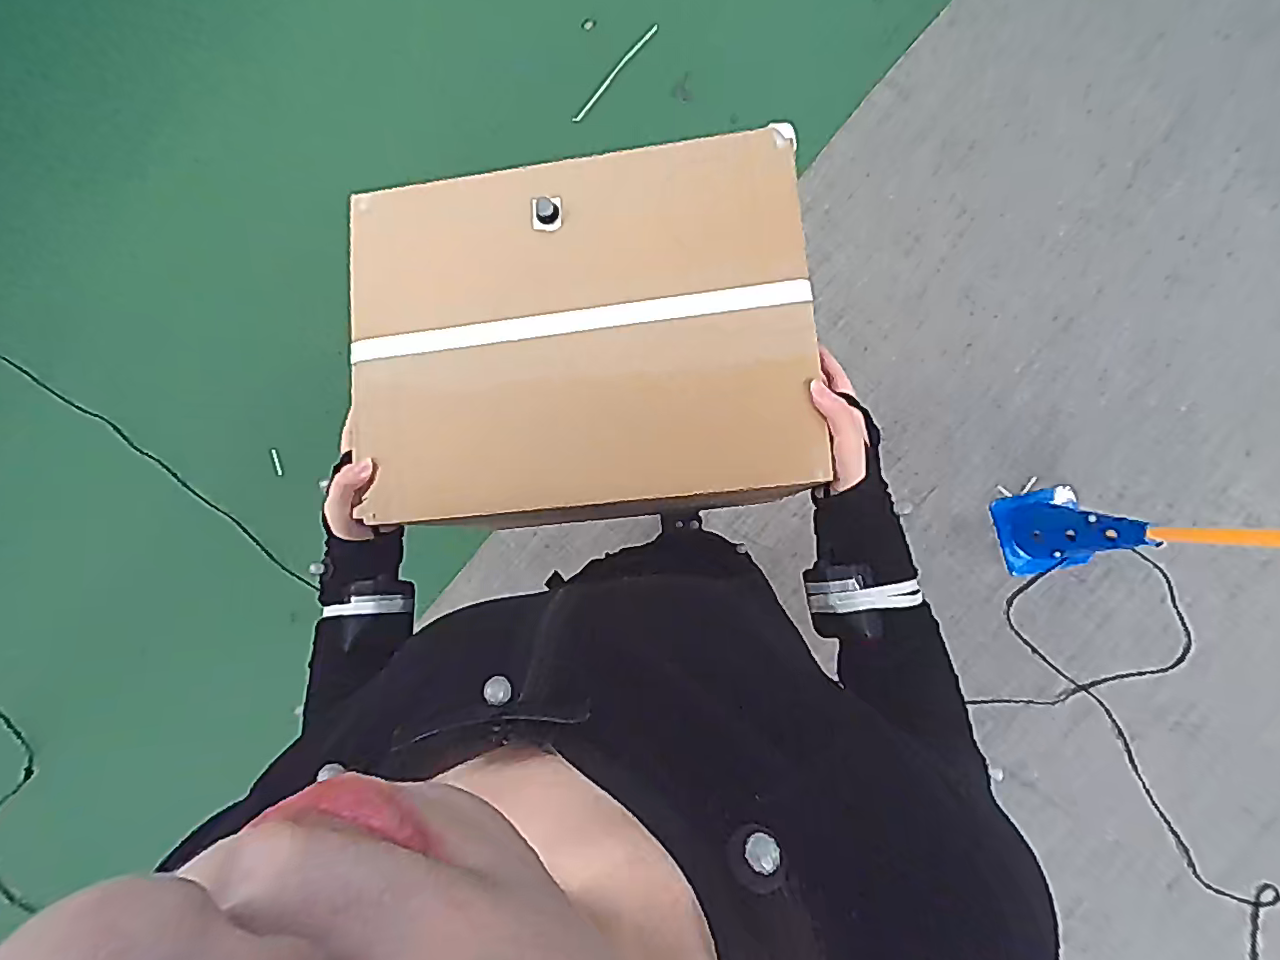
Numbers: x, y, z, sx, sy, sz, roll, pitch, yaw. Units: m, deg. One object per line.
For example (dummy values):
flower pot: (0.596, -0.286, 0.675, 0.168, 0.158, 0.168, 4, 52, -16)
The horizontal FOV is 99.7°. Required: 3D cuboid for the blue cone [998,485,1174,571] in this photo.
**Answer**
blue cone: (0.989, 0.105, 1.189, 0.192, 0.380, 0.193, -16, 82, 6)
